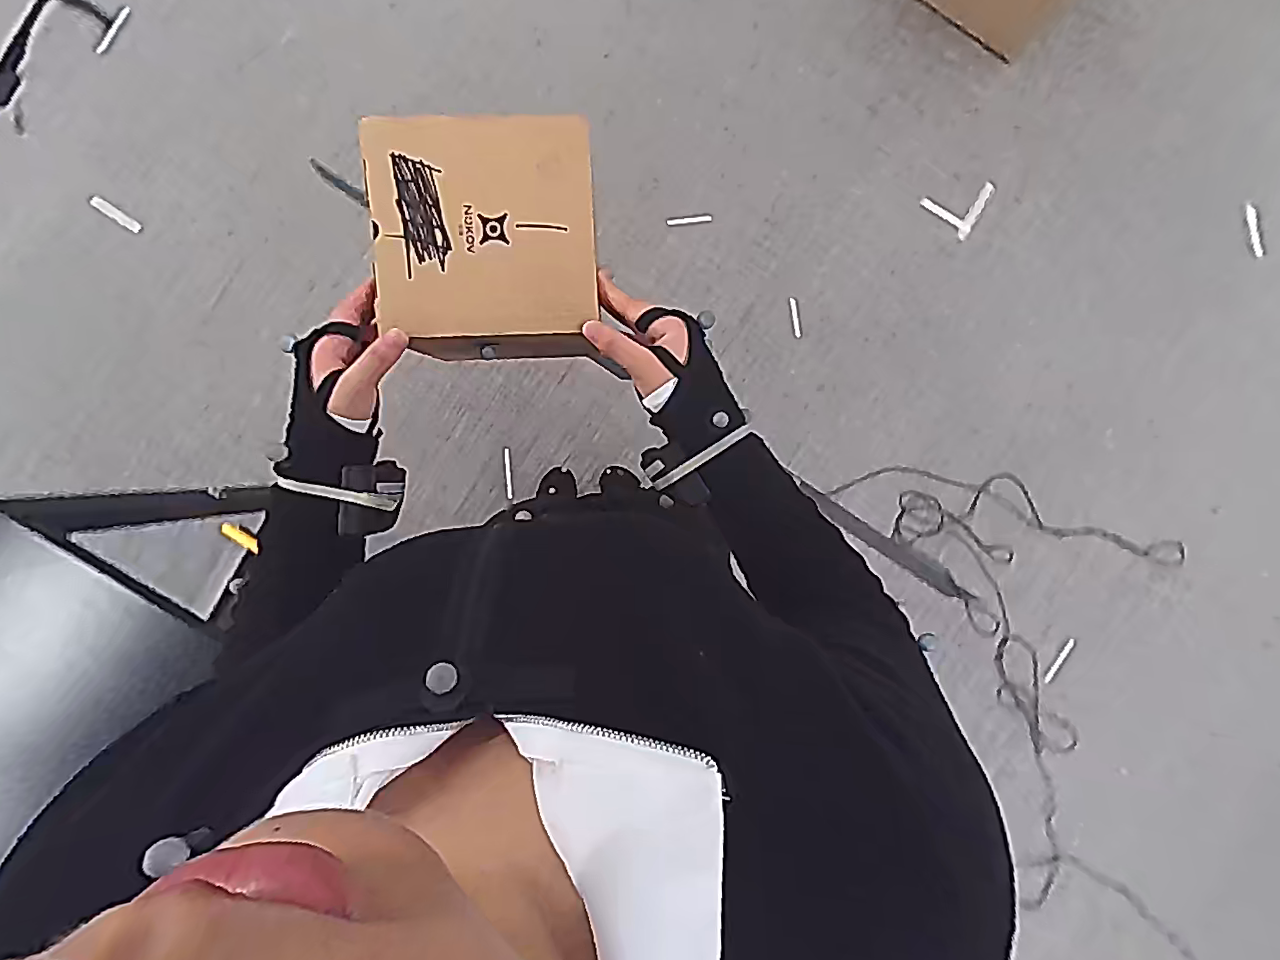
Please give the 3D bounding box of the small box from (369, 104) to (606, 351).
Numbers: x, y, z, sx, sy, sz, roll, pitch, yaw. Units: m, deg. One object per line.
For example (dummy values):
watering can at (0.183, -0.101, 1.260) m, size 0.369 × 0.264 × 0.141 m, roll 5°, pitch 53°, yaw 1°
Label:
small box at (-0.121, -0.212, 0.499) m, size 0.179 × 0.176 × 0.168 m, roll -2°, pitch 98°, yaw -4°
